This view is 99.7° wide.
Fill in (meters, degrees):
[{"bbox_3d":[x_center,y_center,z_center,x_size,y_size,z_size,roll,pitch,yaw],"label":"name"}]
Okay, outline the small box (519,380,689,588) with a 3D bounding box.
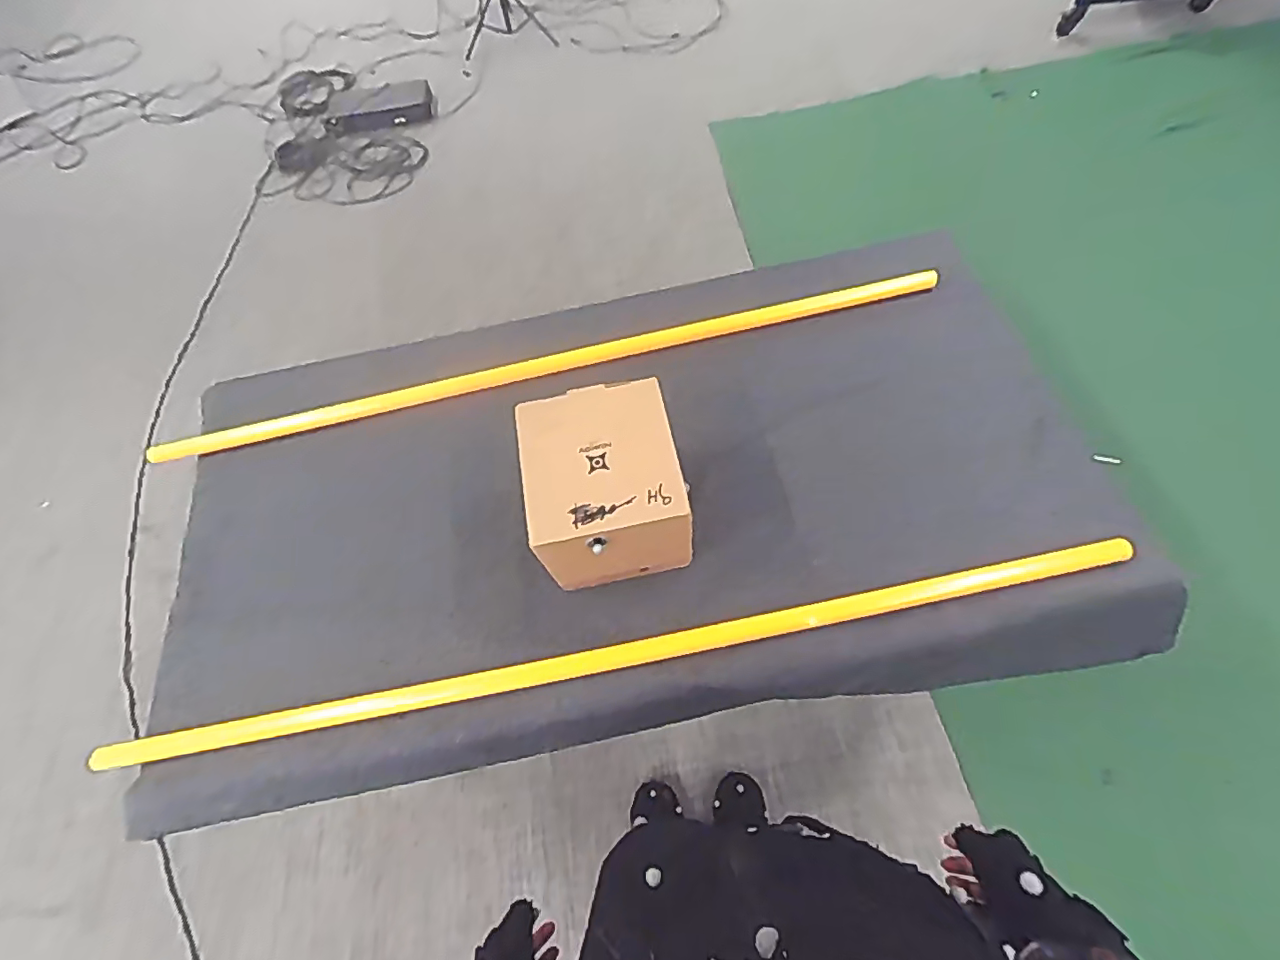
[{"bbox_3d":[-0.039,0.011,0.652,0.168,0.176,0.179,-12,62,0],"label":"small box"}]
